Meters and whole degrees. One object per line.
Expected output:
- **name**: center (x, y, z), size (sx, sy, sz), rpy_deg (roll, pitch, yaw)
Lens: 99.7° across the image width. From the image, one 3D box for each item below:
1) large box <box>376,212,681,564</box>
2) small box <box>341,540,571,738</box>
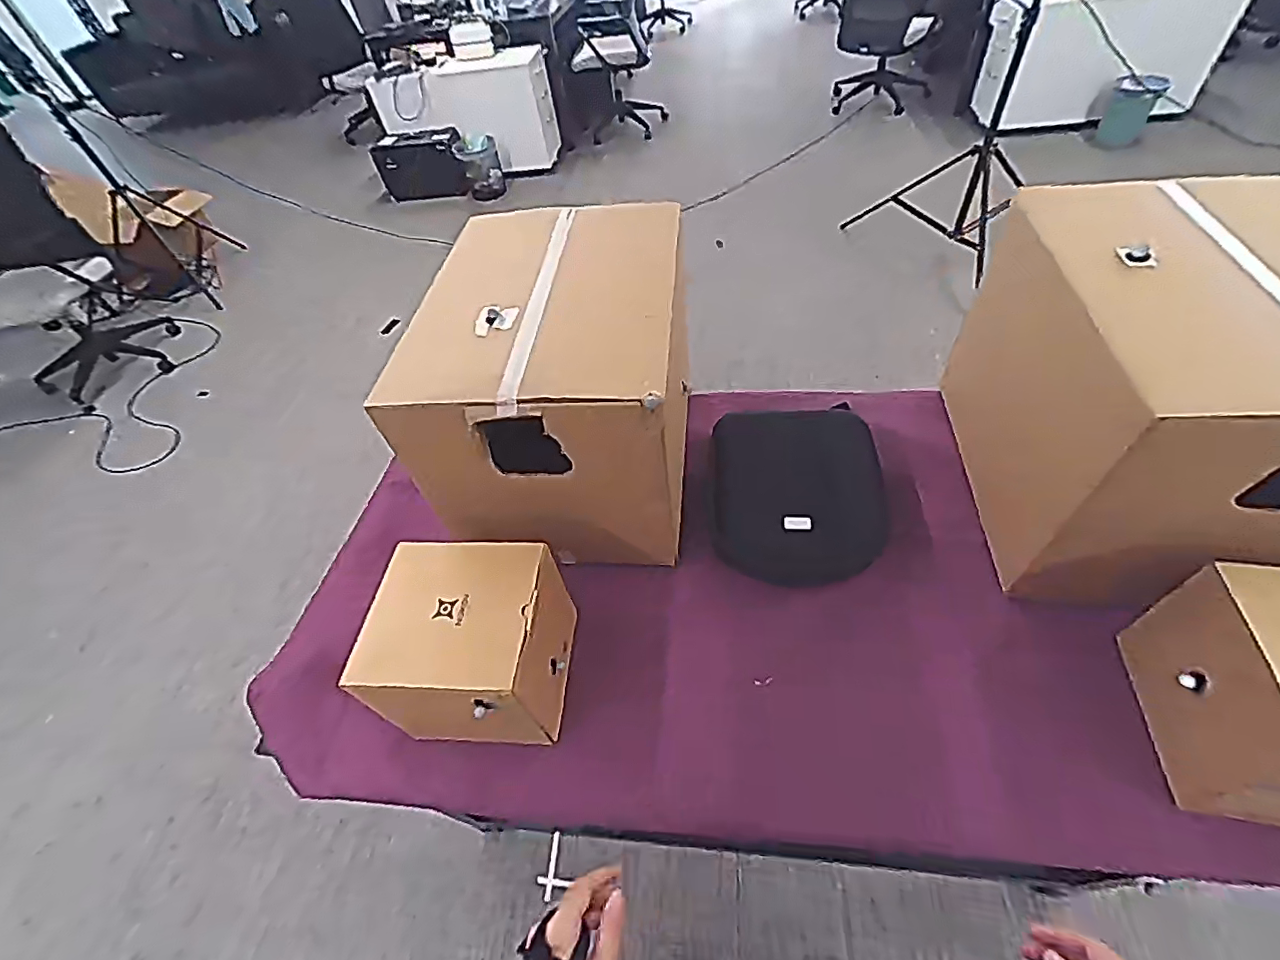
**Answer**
- **large box**: center (-0.099, -0.129, 0.775), size (0.320, 0.320, 0.408), rpy_deg (-1, 53, 8)
- **small box**: center (-0.189, 0.184, 0.618), size (0.179, 0.176, 0.168), rpy_deg (-1, 49, 6)
